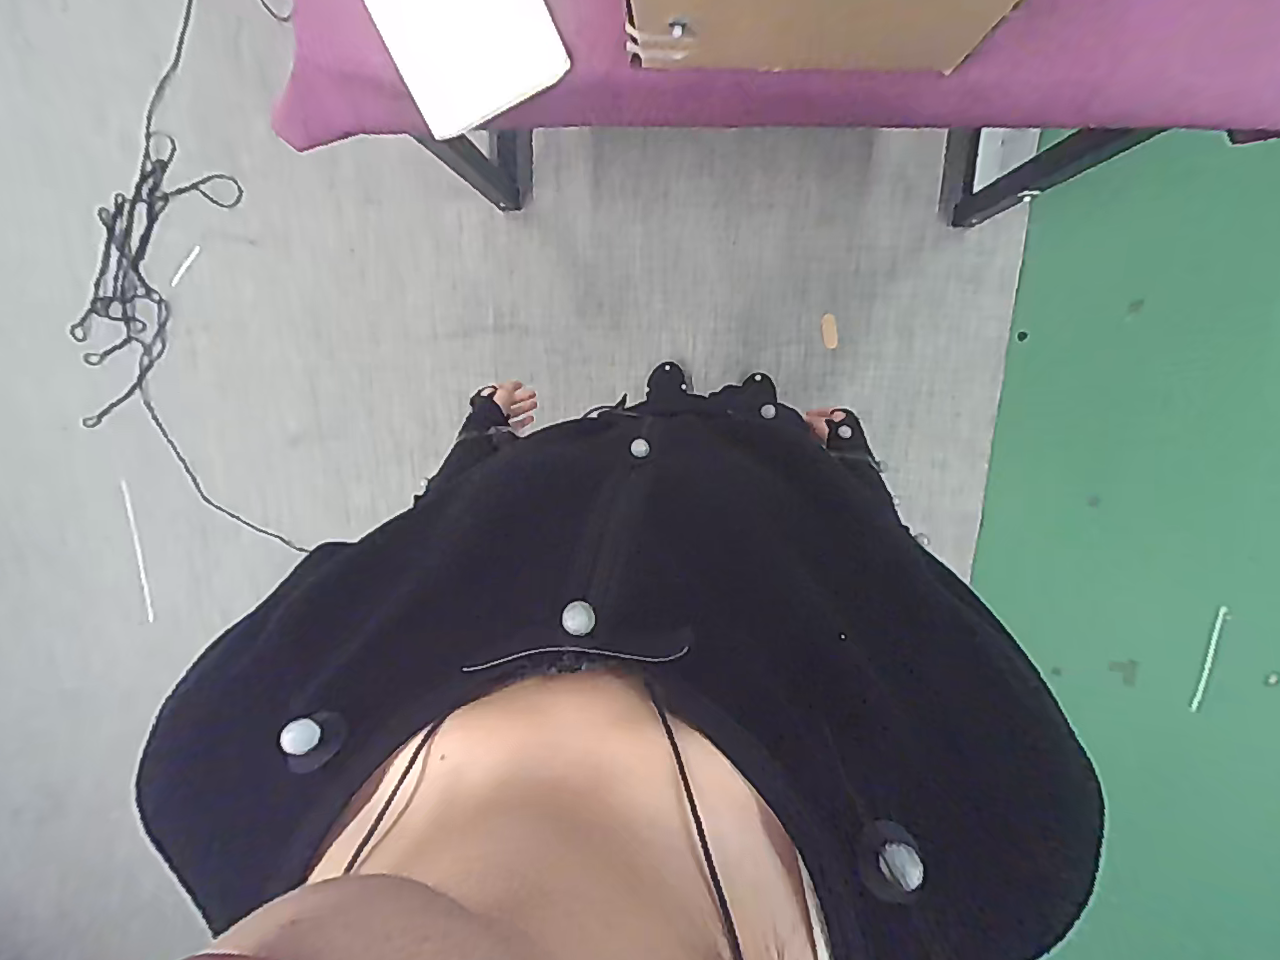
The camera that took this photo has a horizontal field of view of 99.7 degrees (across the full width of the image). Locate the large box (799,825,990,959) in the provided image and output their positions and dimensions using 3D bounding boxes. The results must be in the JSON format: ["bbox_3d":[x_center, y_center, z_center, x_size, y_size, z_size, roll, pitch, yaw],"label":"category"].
[{"bbox_3d":[0.714,1.264,1.549,0.408,0.320,0.320,-12,101,6],"label":"large box"}]
